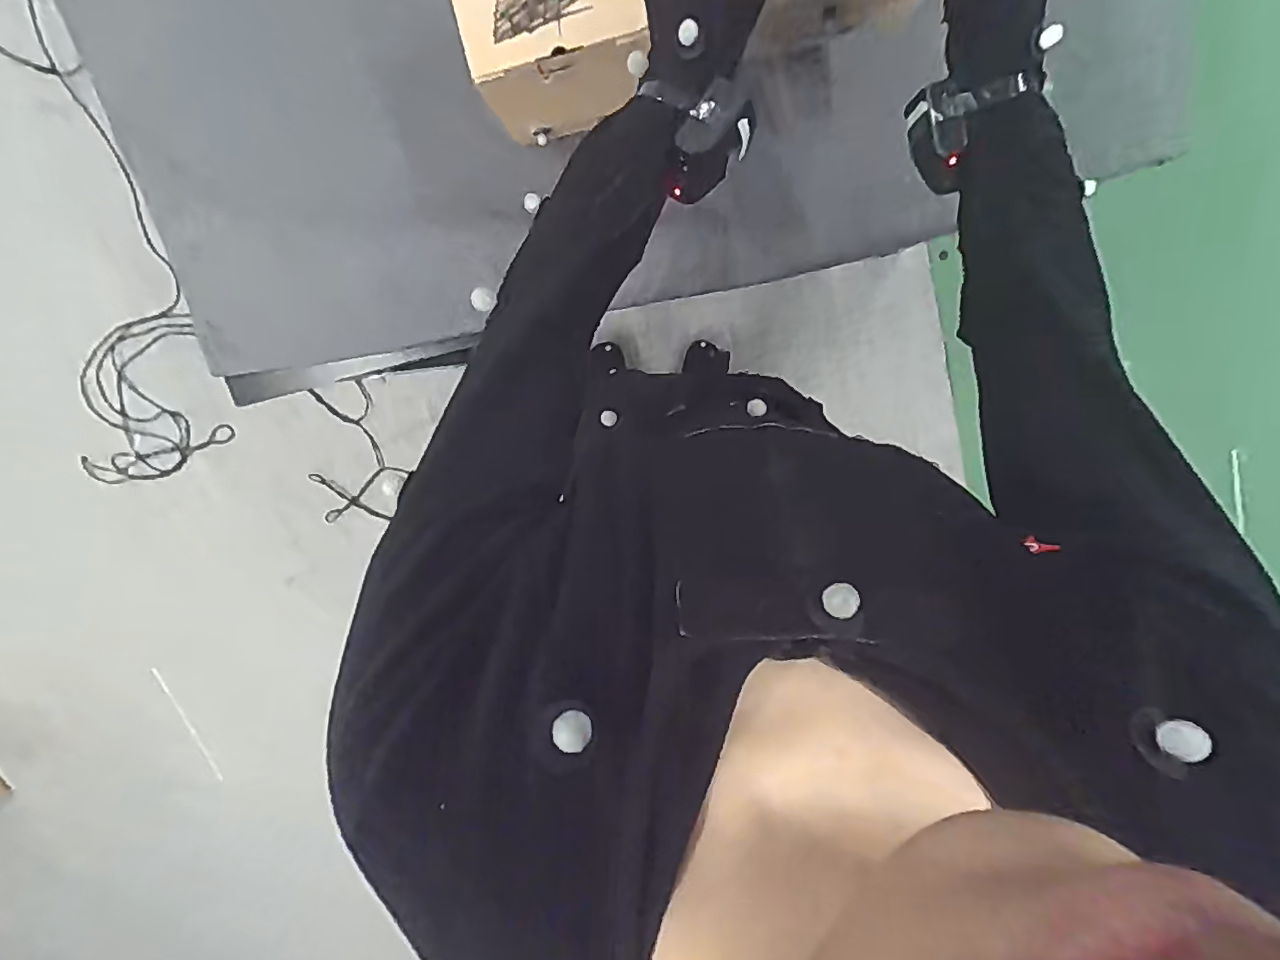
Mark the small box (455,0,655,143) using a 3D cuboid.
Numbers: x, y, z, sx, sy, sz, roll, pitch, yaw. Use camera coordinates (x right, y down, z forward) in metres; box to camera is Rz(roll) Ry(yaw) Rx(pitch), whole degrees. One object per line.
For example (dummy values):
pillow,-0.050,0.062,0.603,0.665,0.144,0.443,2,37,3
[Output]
small box,-0.081,-0.470,0.545,0.168,0.176,0.179,-11,102,6
